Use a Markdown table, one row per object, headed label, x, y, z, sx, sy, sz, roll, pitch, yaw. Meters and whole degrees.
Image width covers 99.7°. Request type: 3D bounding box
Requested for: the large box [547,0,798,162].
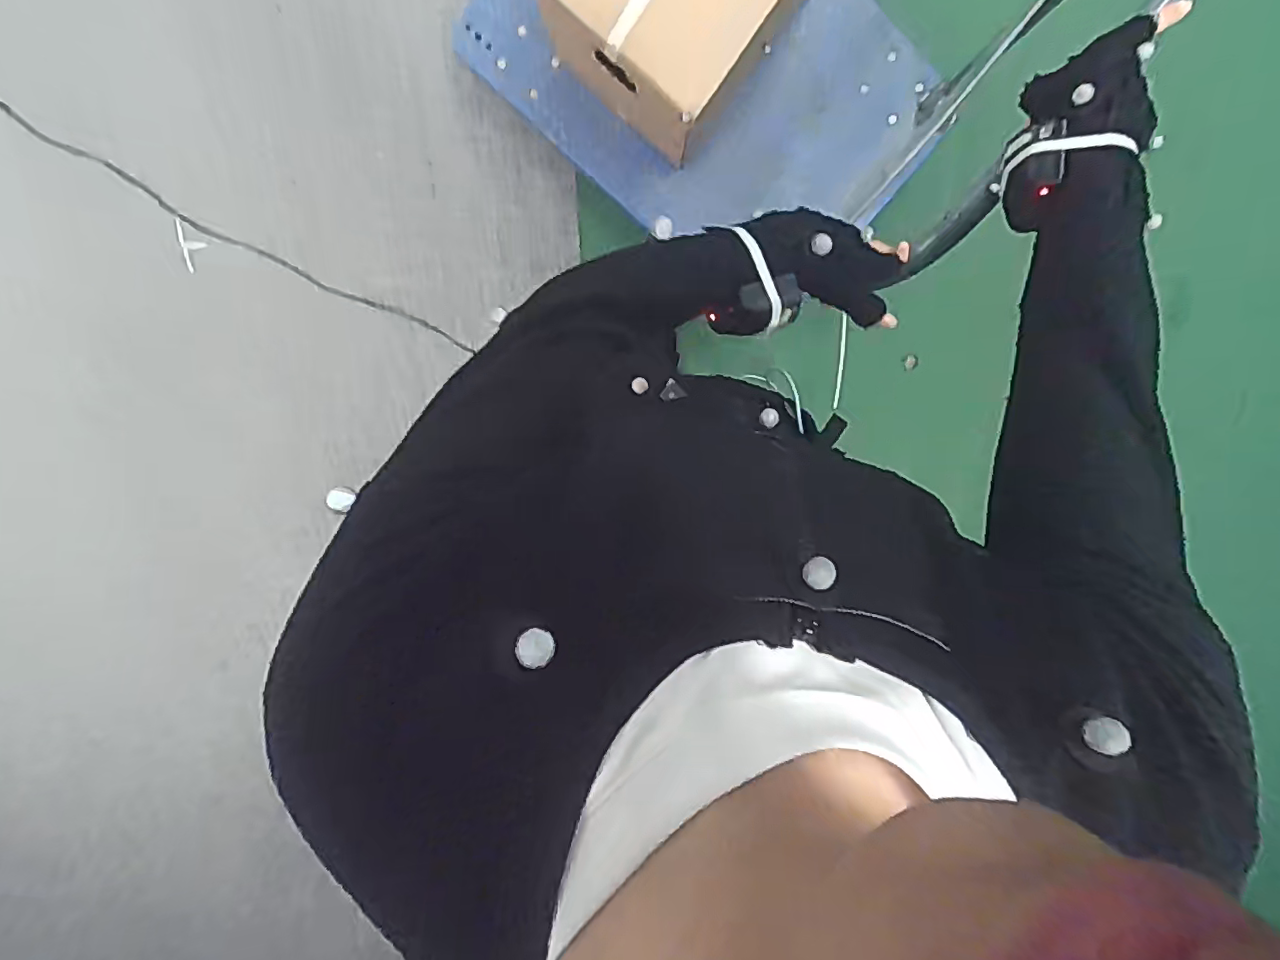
| label | x | y | z | sx | sy | sz | roll | pitch | yaw |
| --- | --- | --- | --- | --- | --- | --- | --- | --- | --- |
| large box | 0.092 | -0.839 | 0.895 | 0.320 | 0.320 | 0.408 | 36 | 106 | -9 |
